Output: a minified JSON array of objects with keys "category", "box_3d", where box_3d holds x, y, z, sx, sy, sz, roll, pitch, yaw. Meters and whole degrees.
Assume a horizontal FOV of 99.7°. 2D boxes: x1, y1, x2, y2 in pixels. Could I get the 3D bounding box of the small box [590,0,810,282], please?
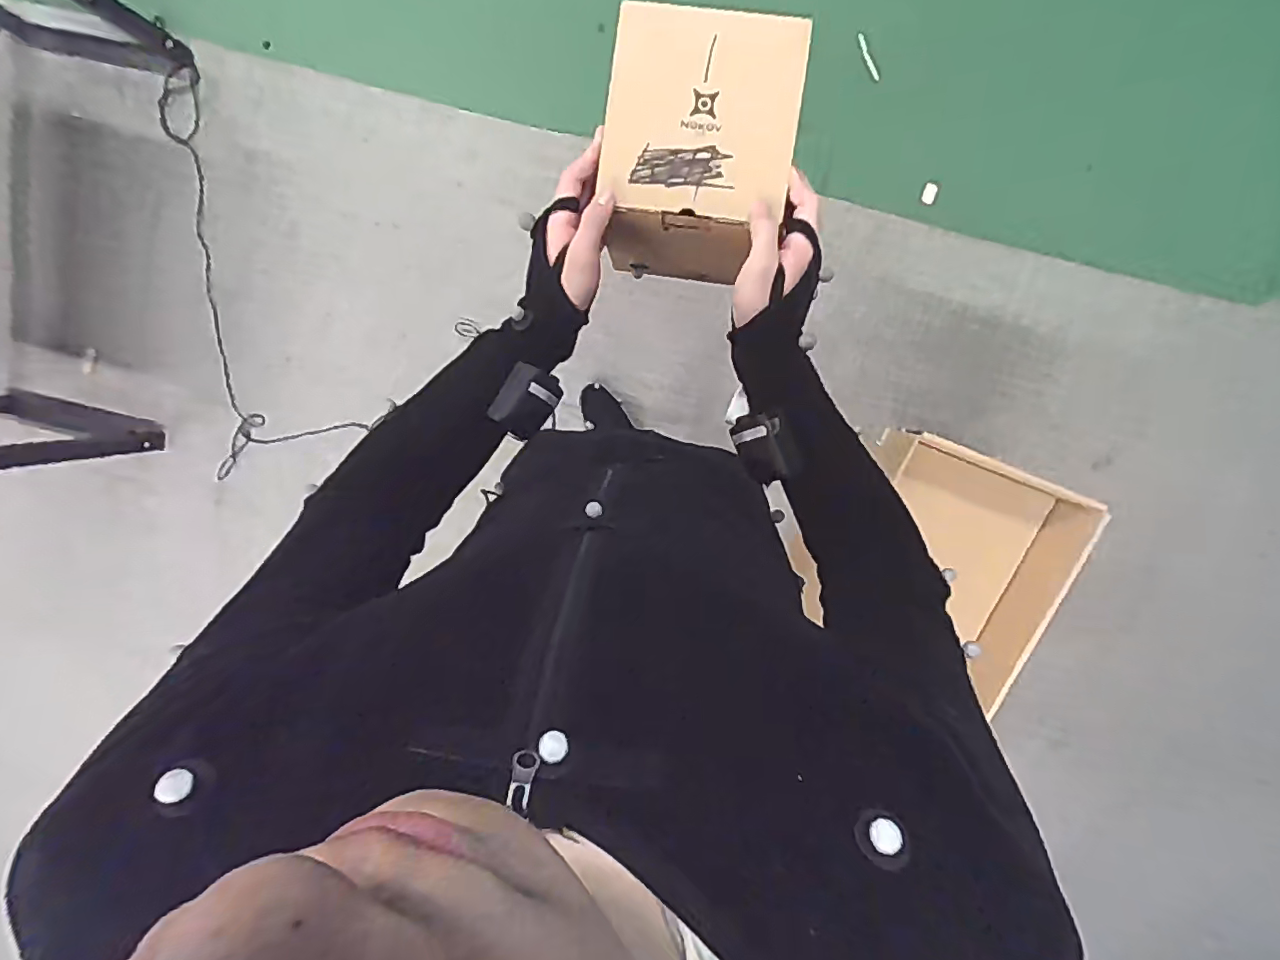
[{"category":"small box","box_3d":[0.054,-0.313,0.535,0.168,0.176,0.179,8,93,2]}]
